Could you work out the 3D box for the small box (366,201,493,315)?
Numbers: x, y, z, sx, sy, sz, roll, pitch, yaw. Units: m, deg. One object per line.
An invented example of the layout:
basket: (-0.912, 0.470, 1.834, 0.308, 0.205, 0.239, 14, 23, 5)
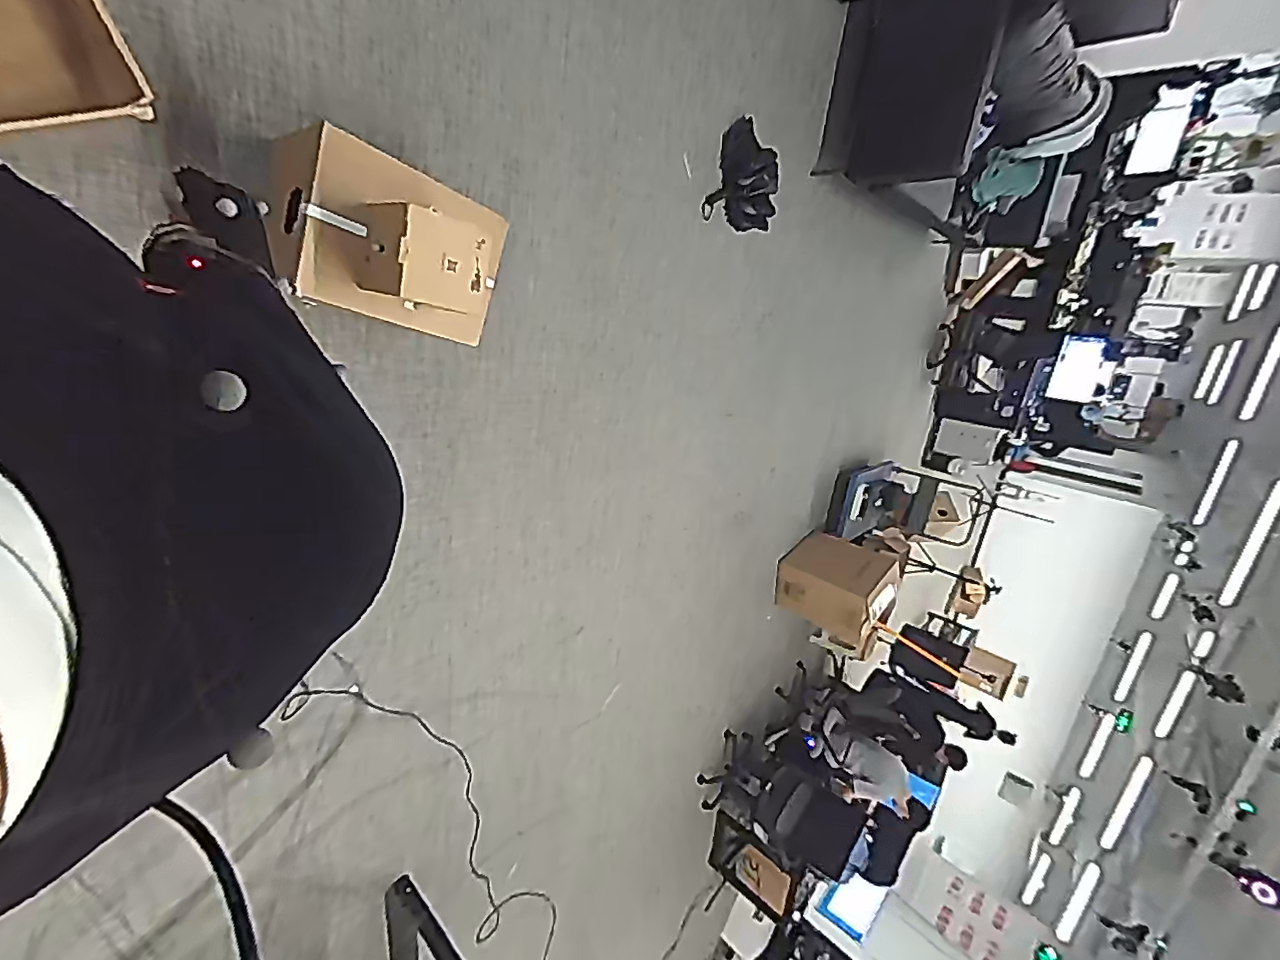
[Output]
small box: (-0.422, -0.435, 1.075, 0.179, 0.176, 0.168, -2, 109, -49)
